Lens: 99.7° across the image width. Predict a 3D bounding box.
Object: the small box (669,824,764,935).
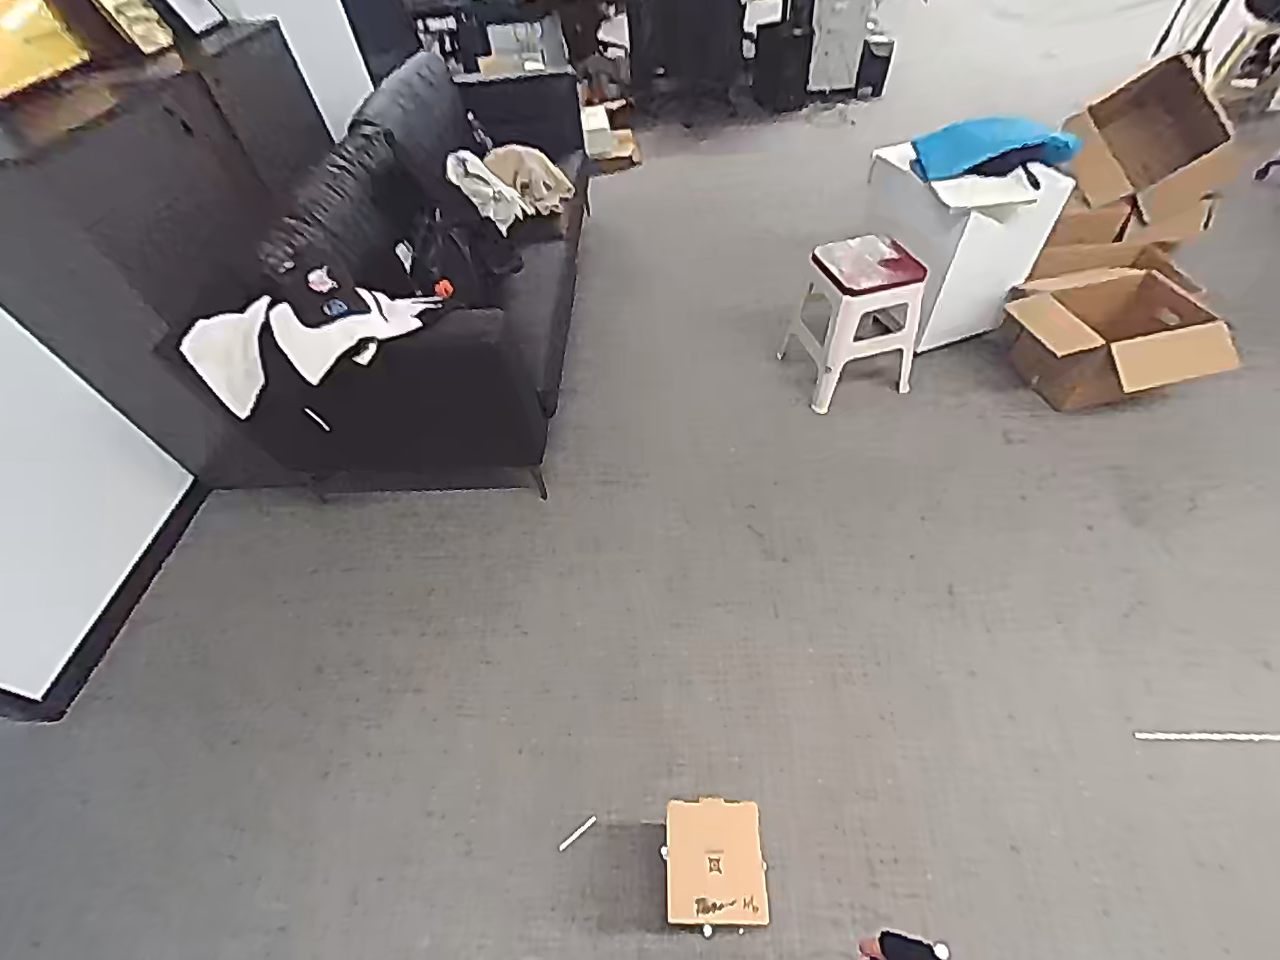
[{"bbox_3d":[0.152,0.816,1.102,0.179,0.176,0.168,-1,50,5],"label":"small box"}]
